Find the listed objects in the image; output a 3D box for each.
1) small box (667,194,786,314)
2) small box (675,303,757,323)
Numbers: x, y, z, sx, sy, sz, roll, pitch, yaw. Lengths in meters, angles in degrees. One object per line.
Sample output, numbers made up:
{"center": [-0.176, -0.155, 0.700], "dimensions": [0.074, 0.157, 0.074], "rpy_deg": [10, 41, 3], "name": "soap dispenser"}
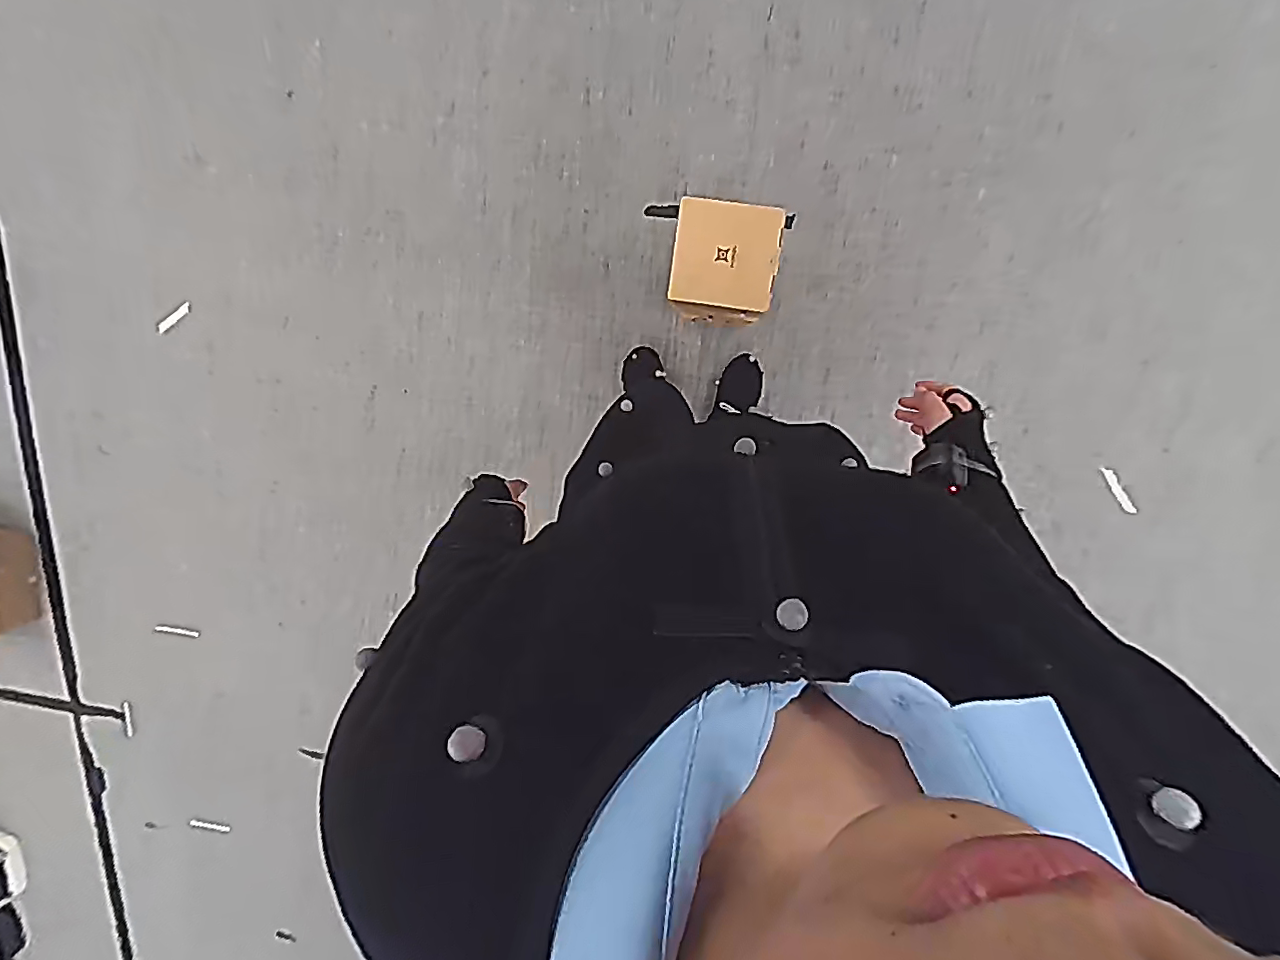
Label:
{"center": [0.149, -0.396, 0.976], "dimensions": [0.179, 0.176, 0.168], "rpy_deg": [8, 105, 3], "name": "small box"}
{"center": [0.174, -0.433, 1.133], "dimensions": [0.168, 0.176, 0.179], "rpy_deg": [12, 105, 2], "name": "small box"}
